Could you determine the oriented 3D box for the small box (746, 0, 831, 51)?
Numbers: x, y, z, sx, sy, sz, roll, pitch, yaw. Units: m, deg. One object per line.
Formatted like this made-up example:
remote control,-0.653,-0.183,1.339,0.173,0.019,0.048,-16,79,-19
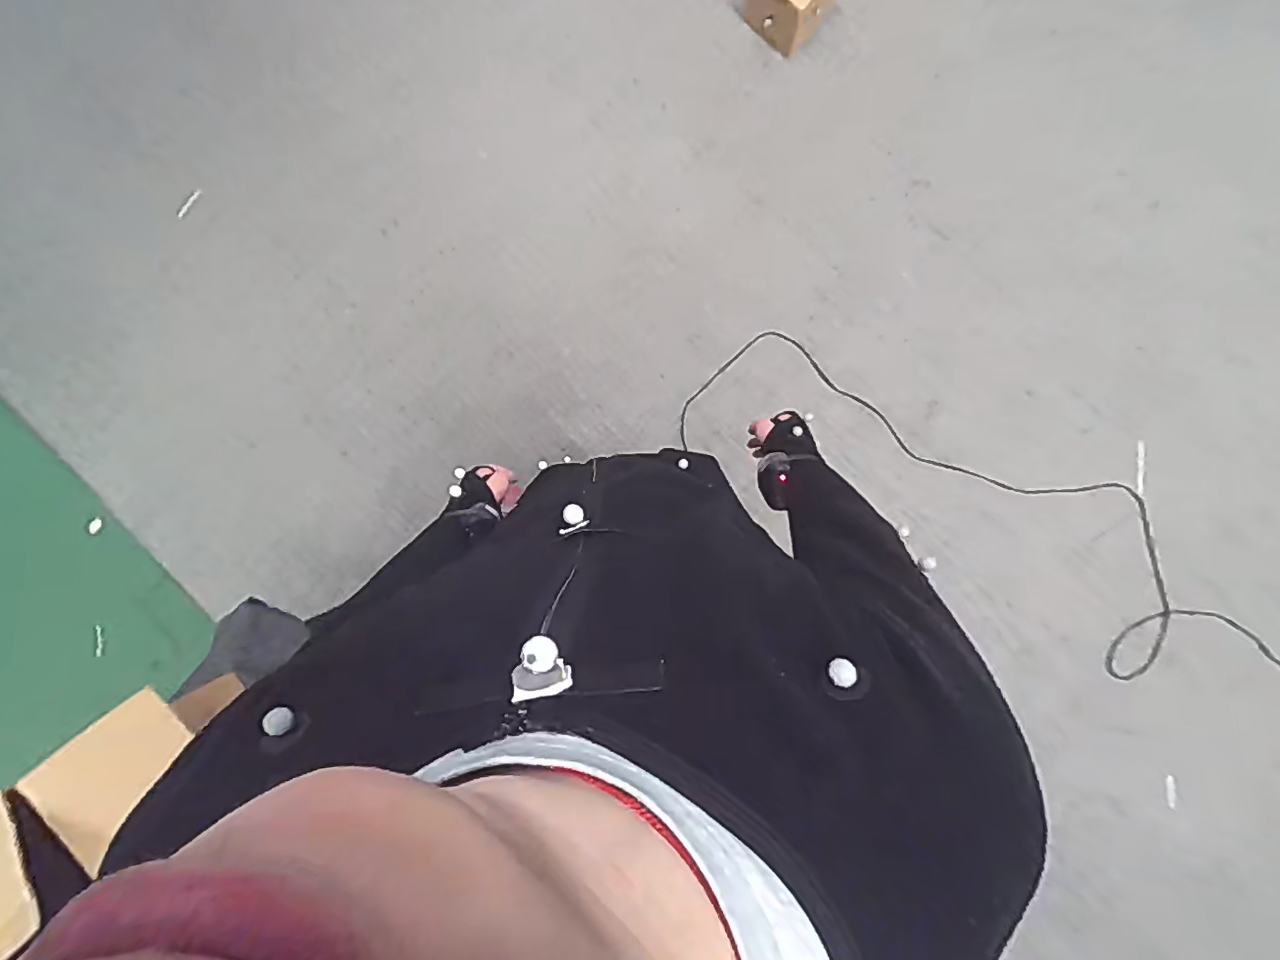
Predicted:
small box,0.379,-1.232,1.339,0.168,0.176,0.179,42,98,1
